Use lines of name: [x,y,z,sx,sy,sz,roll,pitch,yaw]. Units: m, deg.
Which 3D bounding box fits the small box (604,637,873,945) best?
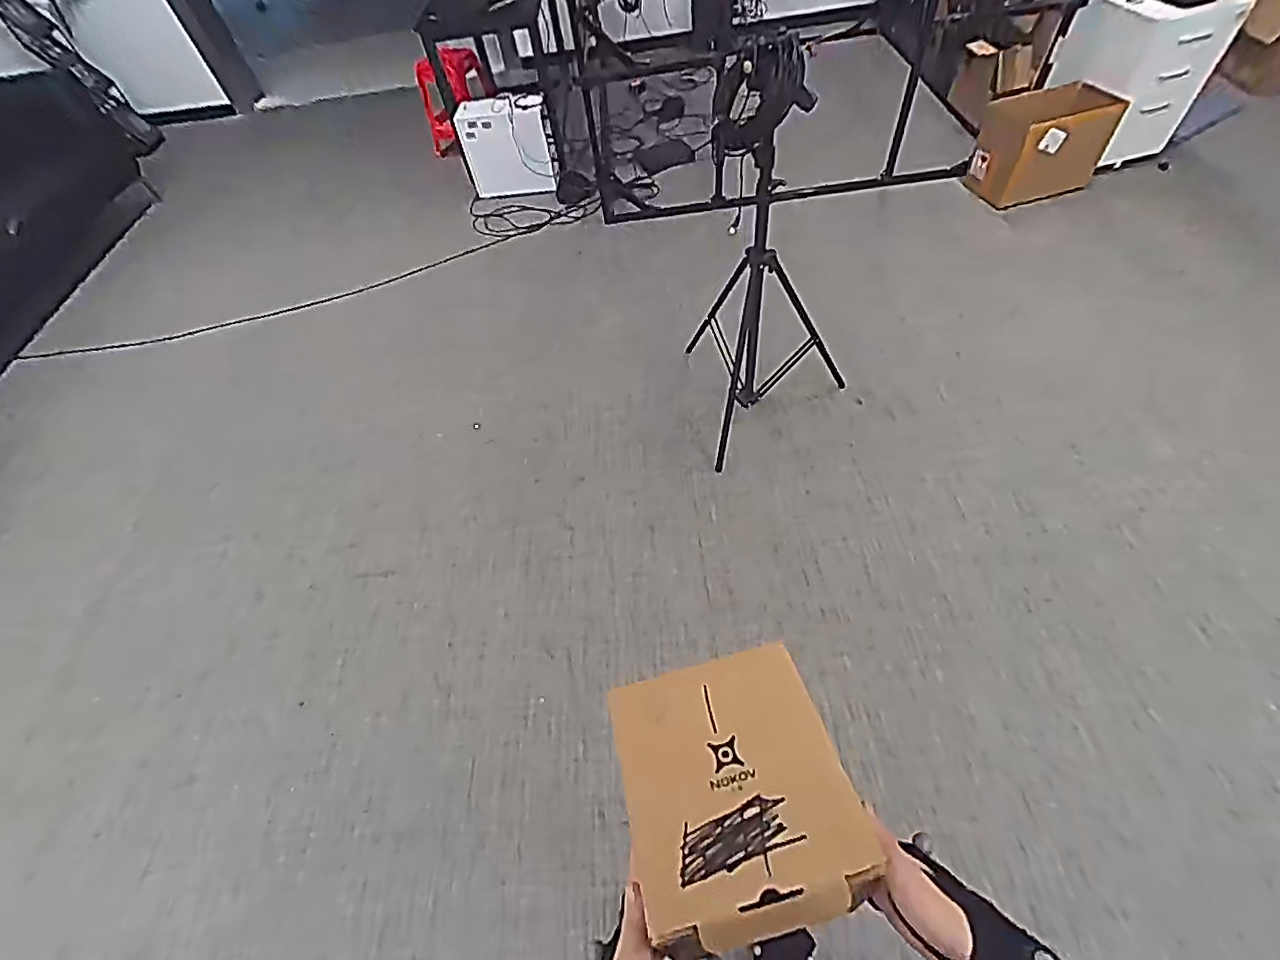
small box: [0.076,0.273,0.471,0.168,0.176,0.179,-15,43,-3]
